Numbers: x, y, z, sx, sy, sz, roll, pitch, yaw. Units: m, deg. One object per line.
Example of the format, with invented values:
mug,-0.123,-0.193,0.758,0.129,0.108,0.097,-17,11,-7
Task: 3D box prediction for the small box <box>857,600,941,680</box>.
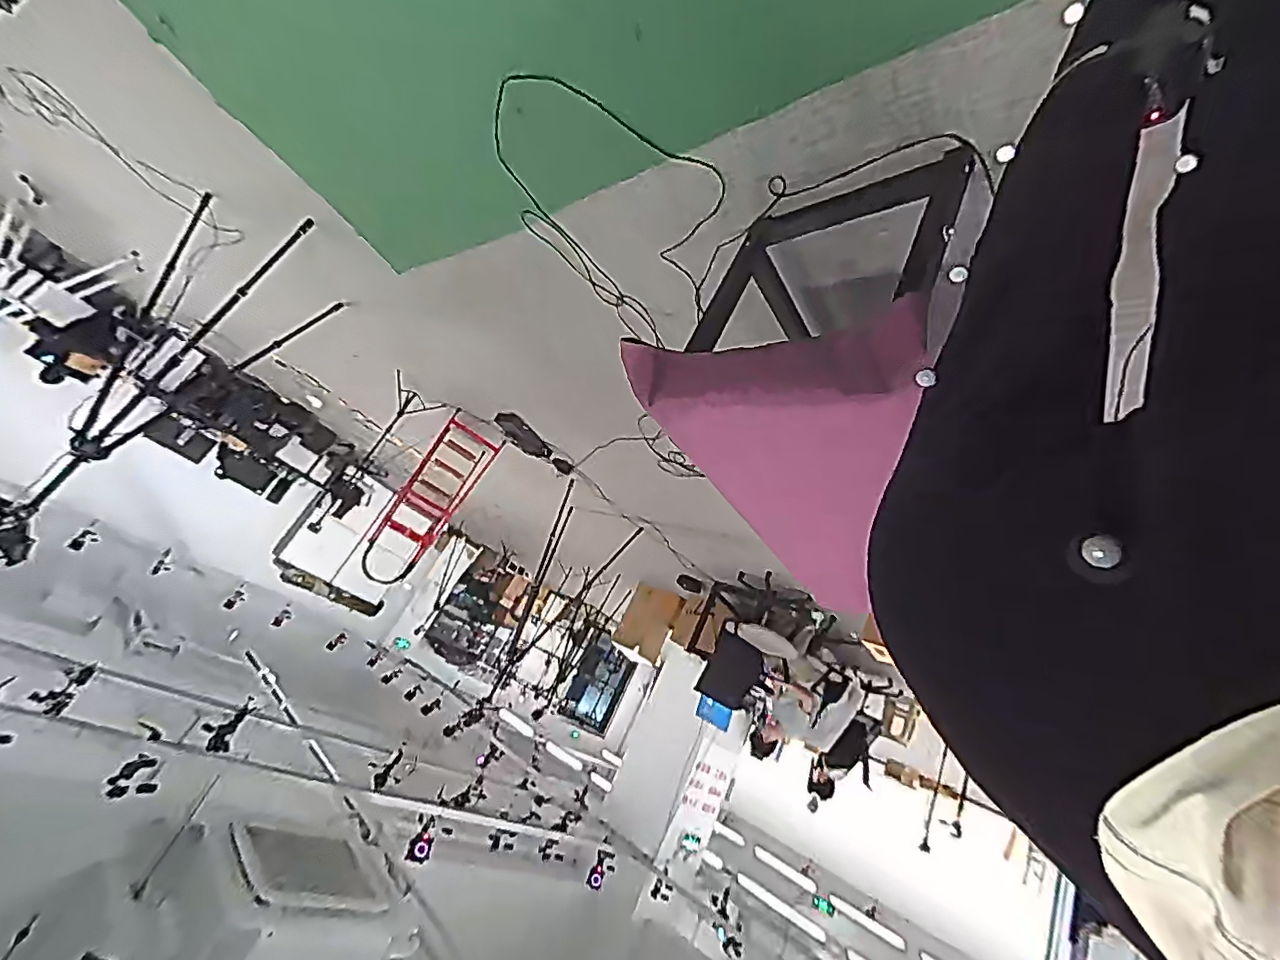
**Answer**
small box,0.804,0.488,1.672,0.179,0.176,0.168,2,148,45
